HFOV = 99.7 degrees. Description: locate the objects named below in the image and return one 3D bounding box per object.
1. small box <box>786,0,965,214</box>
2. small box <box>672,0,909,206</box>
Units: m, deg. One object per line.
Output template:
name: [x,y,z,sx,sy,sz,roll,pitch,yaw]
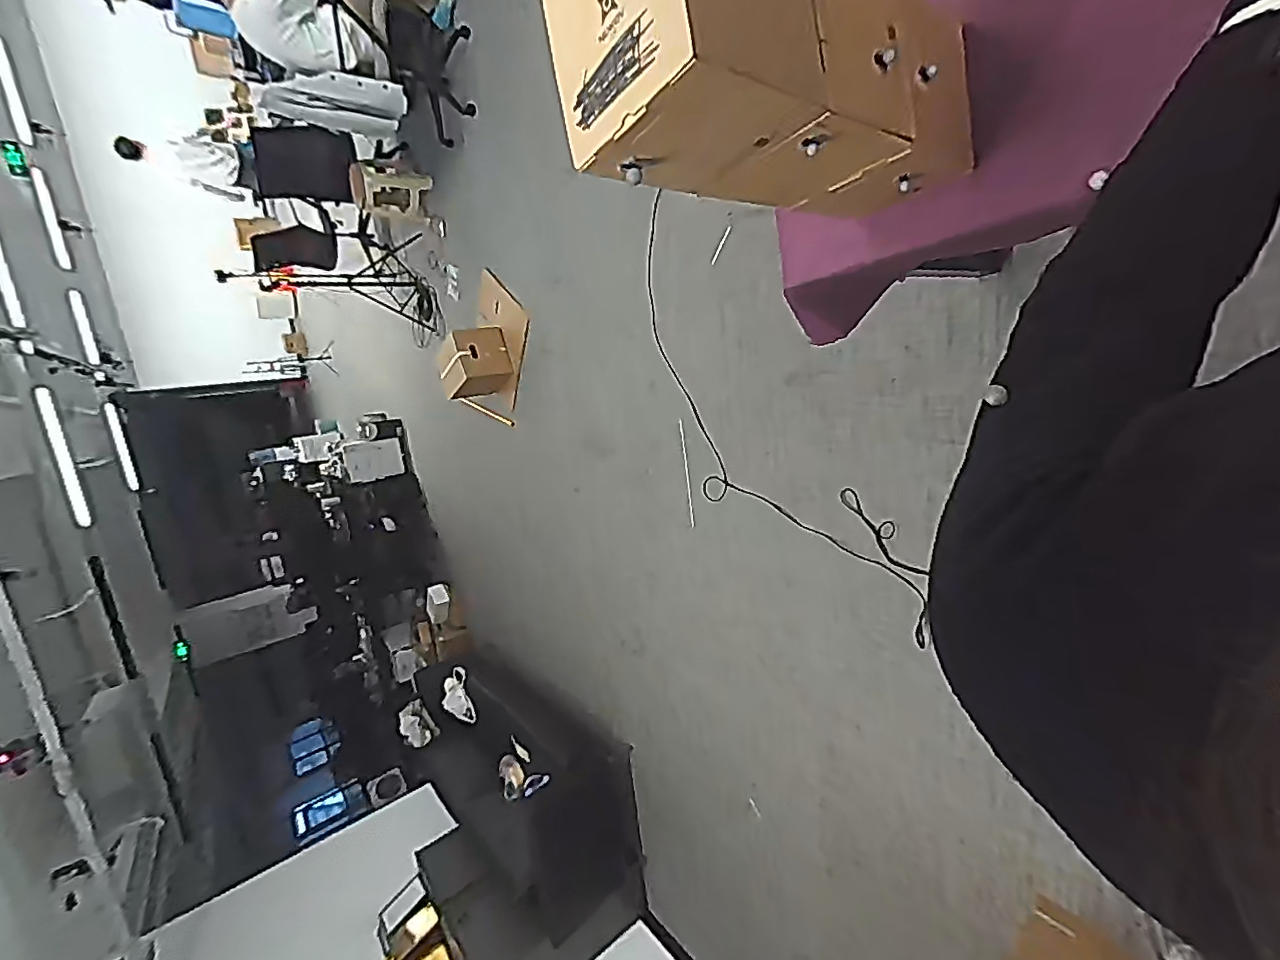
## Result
small box: [0.292,-0.455,0.688,0.168,0.176,0.179,0,102,51]
small box: [0.164,-0.422,0.594,0.179,0.176,0.168,-3,100,51]
